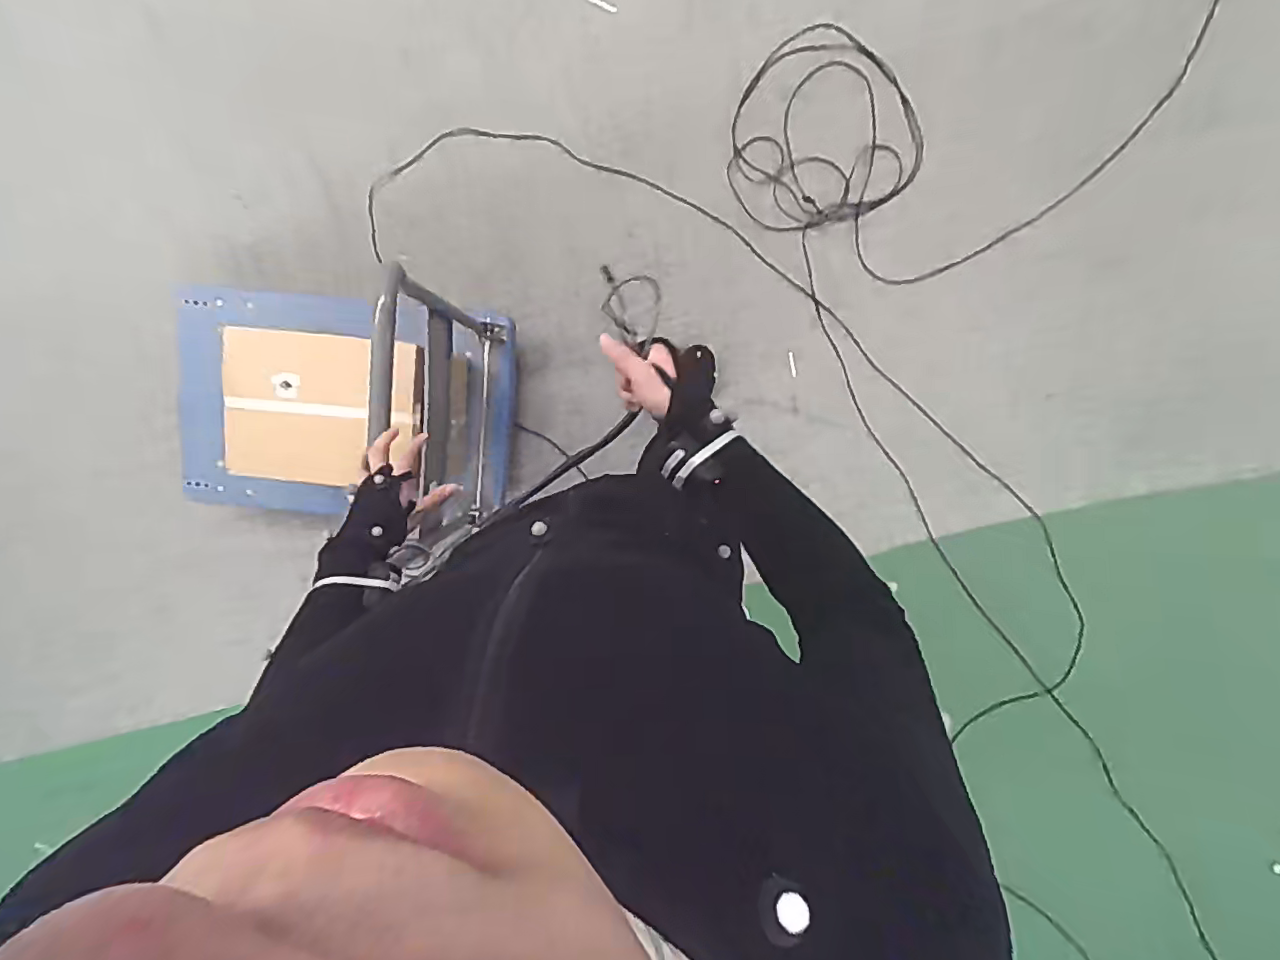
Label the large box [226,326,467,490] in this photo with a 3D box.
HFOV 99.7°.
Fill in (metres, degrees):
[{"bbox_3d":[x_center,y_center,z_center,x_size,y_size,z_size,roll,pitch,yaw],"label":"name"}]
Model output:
[{"bbox_3d":[-0.656,-0.170,1.269,0.408,0.320,0.320,6,98,2],"label":"large box"}]
